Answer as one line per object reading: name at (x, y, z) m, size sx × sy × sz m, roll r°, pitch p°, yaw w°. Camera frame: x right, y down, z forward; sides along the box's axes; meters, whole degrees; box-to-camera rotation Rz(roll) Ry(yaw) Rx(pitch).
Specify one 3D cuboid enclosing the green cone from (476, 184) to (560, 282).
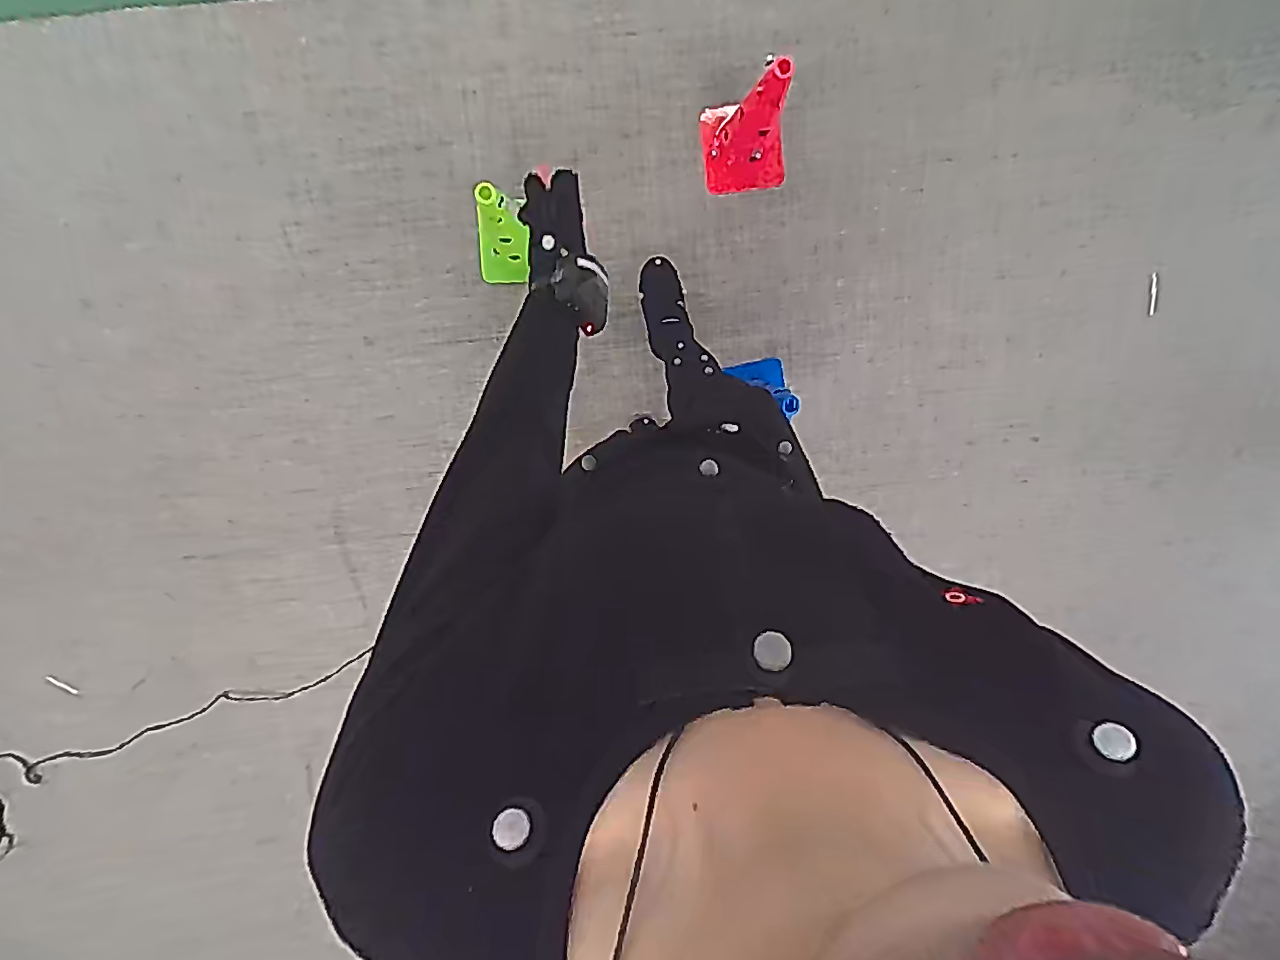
green cone at (-0.303, -0.580, 1.202) m, size 0.200 × 0.368 × 0.202 m, roll -3°, pitch 101°, yaw -1°
